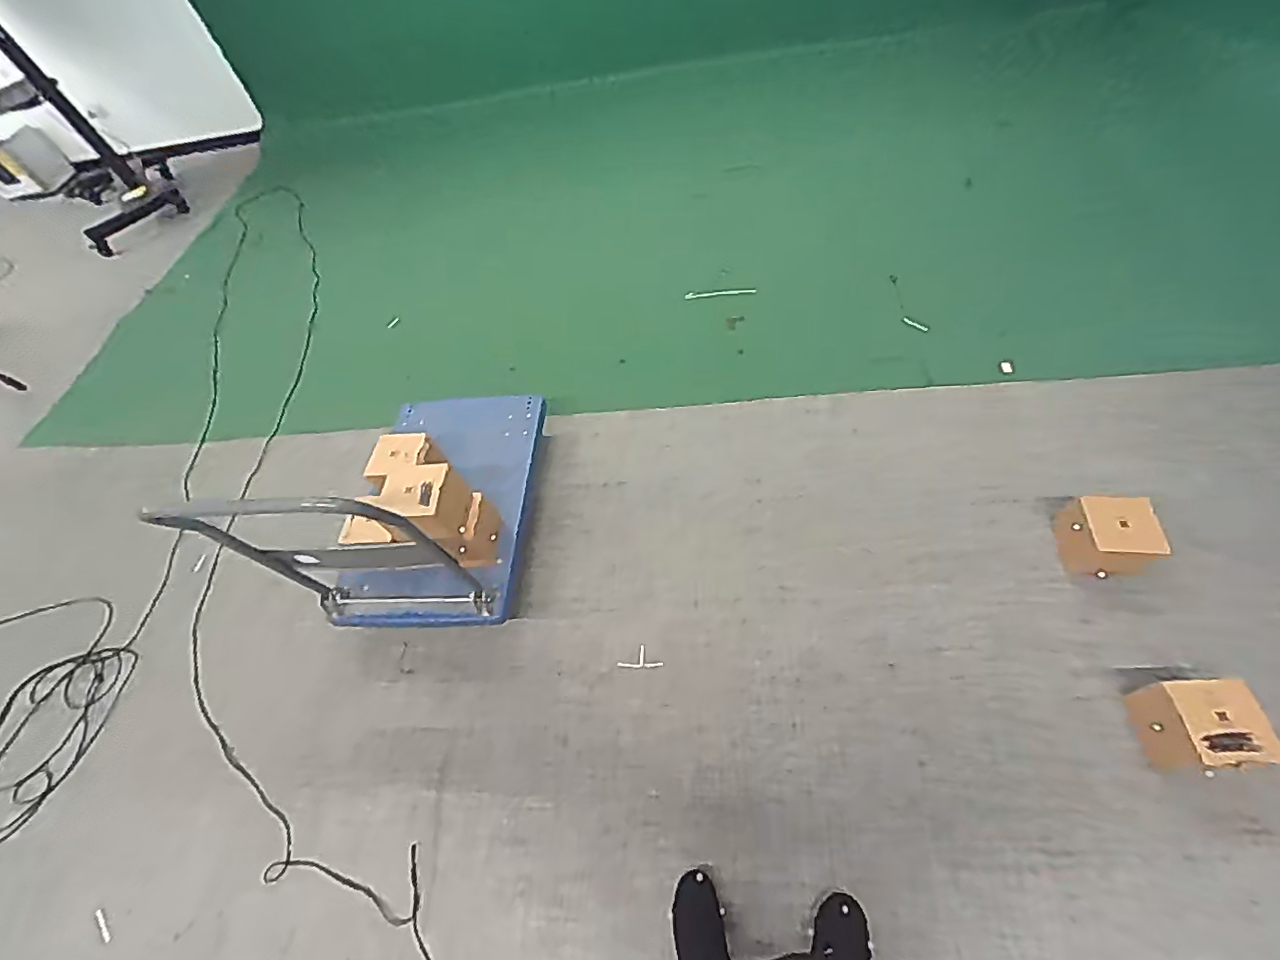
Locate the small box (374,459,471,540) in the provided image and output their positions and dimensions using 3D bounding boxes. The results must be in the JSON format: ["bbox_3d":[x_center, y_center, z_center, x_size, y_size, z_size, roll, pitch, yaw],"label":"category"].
[{"bbox_3d":[-0.592,0.058,1.501,0.179,0.176,0.168,-3,56,9],"label":"small box"}]

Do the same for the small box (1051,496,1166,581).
[{"bbox_3d":[1.300,0.164,1.518,0.168,0.176,0.179,2,57,12],"label":"small box"}]

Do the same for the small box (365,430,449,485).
[{"bbox_3d":[-0.769,-0.052,1.803,0.179,0.176,0.168,1,57,10],"label":"small box"}]

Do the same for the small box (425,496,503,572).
[{"bbox_3d":[-0.545,0.151,1.640,0.168,0.176,0.179,26,65,22],"label":"small box"}]
